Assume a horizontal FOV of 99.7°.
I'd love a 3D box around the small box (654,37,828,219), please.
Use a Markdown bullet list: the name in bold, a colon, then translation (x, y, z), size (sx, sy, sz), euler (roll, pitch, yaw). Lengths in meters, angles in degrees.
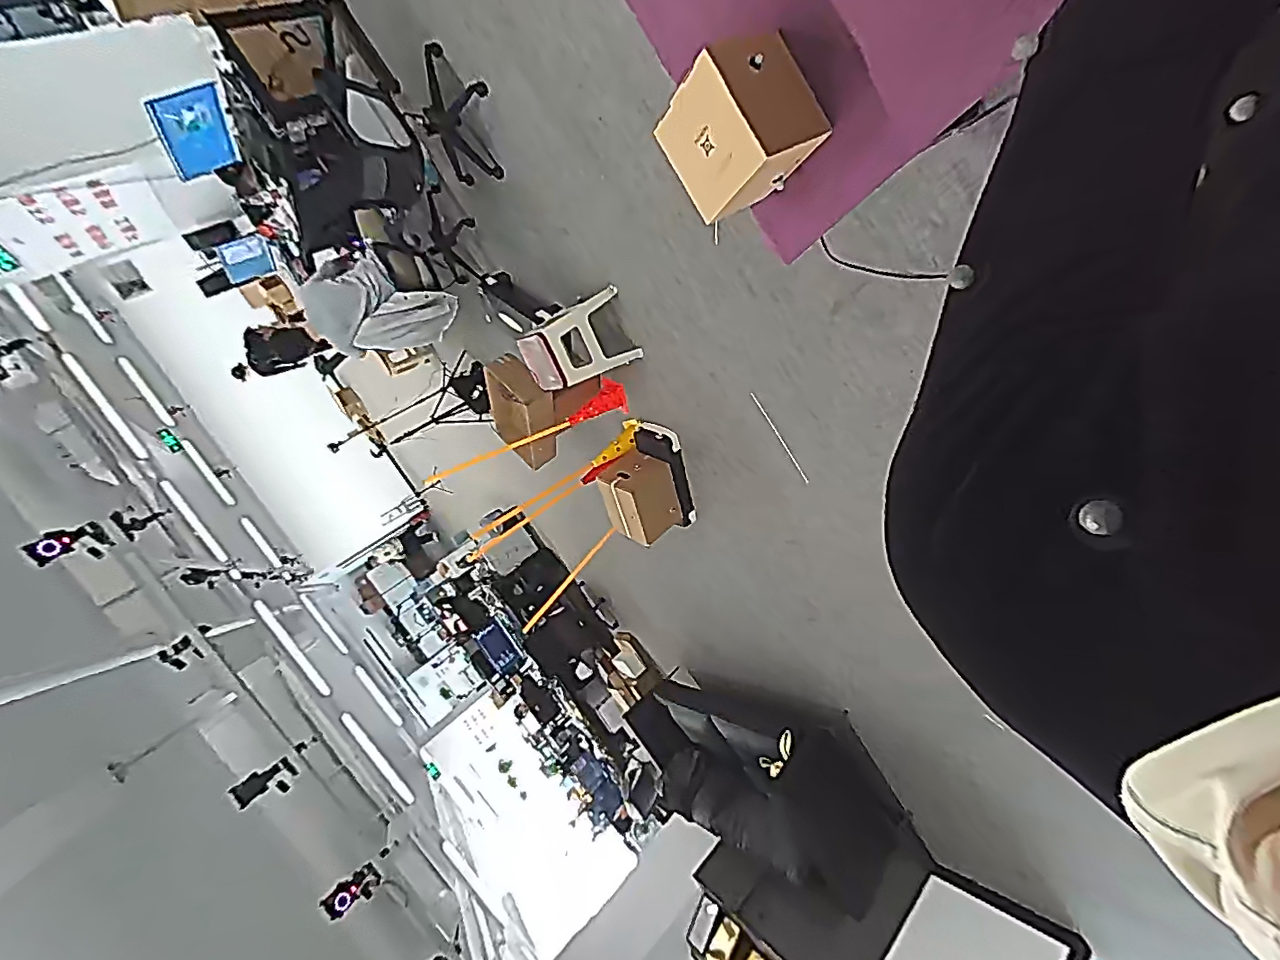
- **small box**: translation (0.160, -0.563, 0.865), size (0.179, 0.176, 0.168), euler (57, 154, -6)
